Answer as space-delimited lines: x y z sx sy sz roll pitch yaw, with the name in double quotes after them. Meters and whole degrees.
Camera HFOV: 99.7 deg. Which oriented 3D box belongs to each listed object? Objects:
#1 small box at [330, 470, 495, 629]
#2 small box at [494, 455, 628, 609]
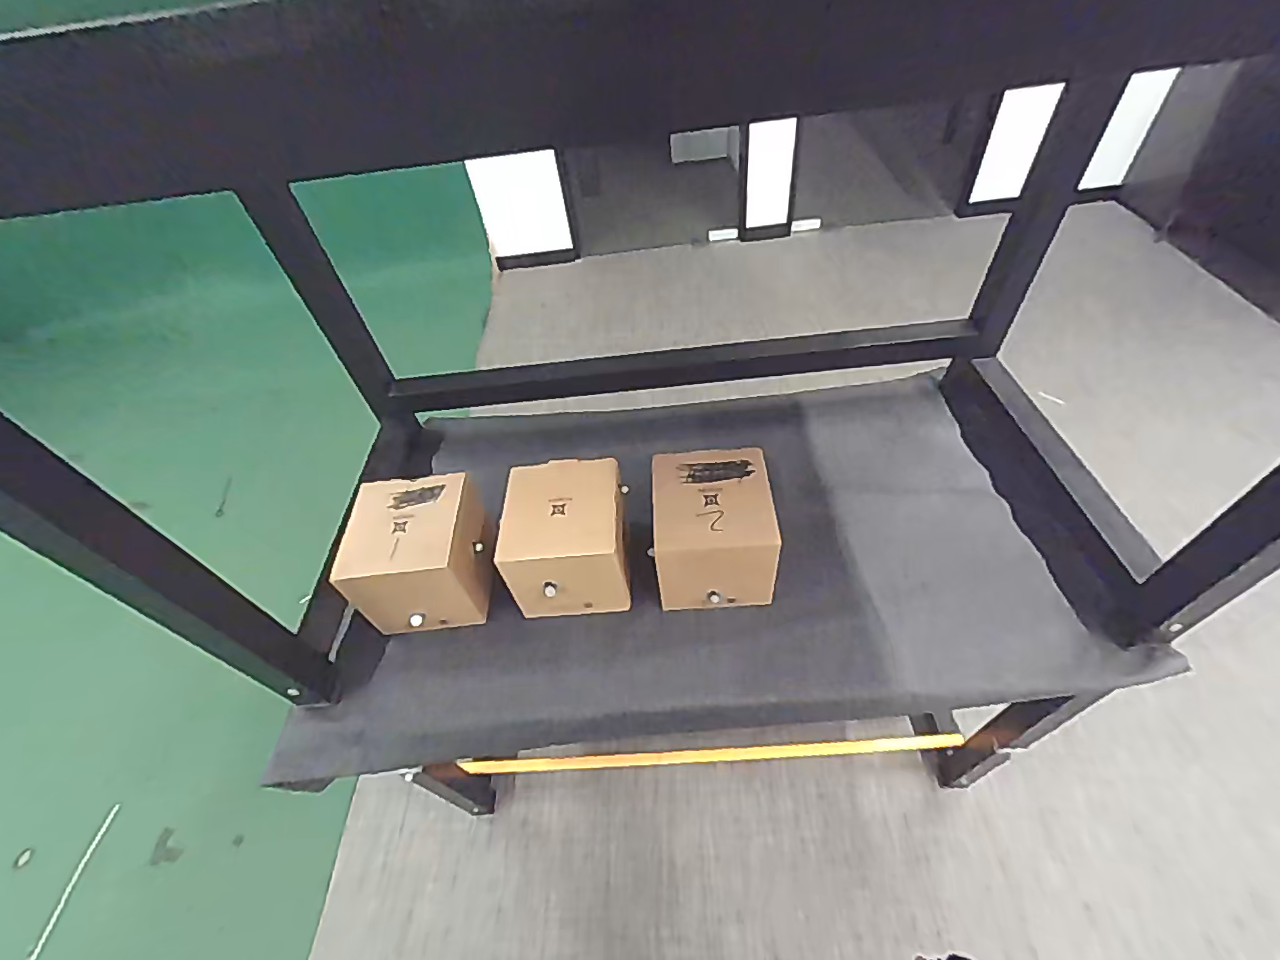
-0.334 0.109 0.839 0.168 0.176 0.179 -7 49 2 "small box"
-0.108 0.087 0.831 0.168 0.176 0.179 -4 48 3 "small box"
